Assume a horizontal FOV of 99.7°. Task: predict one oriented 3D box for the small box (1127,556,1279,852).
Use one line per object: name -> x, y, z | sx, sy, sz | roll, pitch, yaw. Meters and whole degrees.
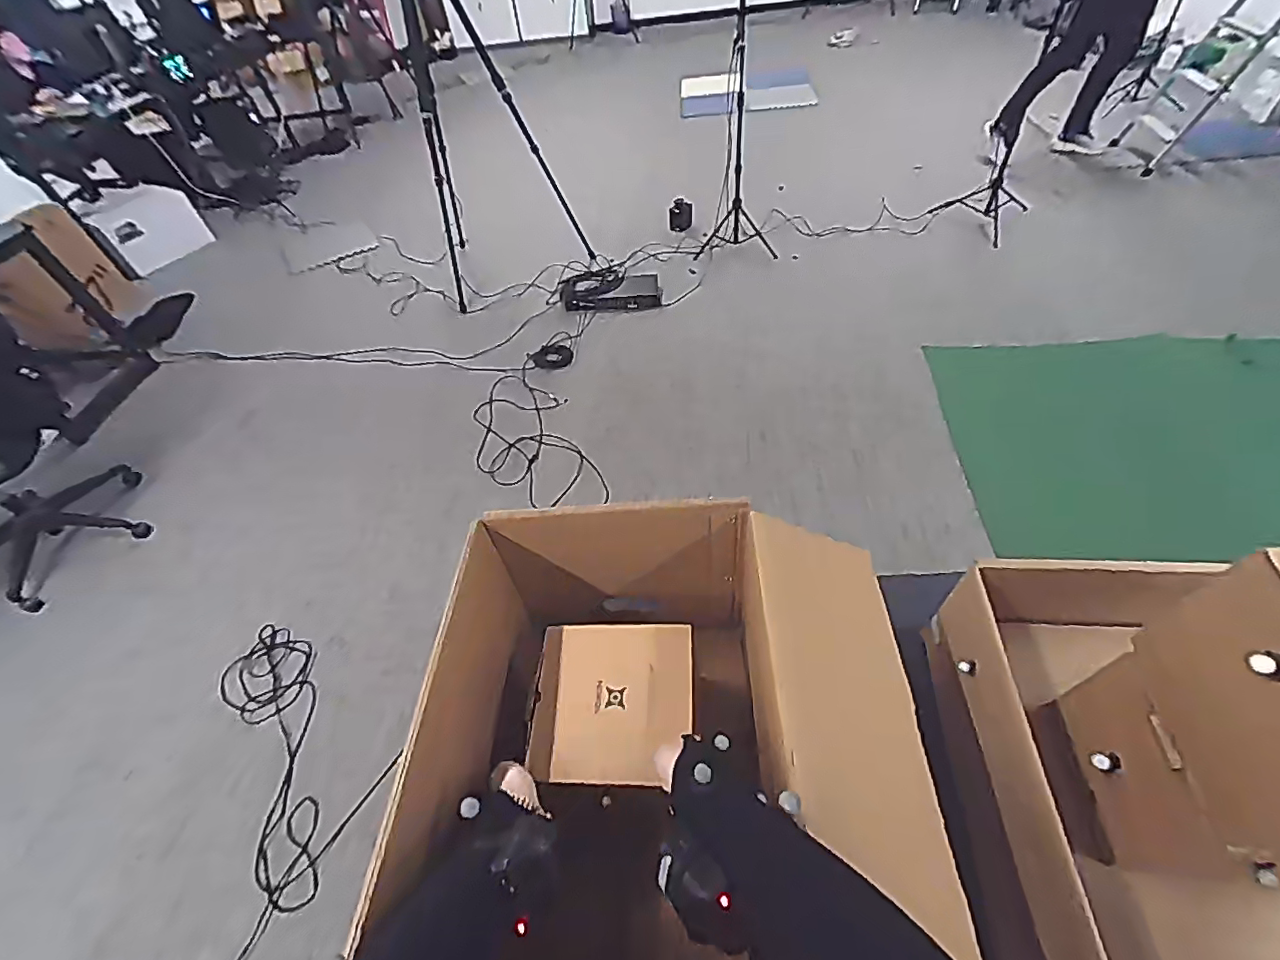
small box -> 0.539, 0.179, 0.415 | 0.168, 0.176, 0.179 | 2, 52, 9
